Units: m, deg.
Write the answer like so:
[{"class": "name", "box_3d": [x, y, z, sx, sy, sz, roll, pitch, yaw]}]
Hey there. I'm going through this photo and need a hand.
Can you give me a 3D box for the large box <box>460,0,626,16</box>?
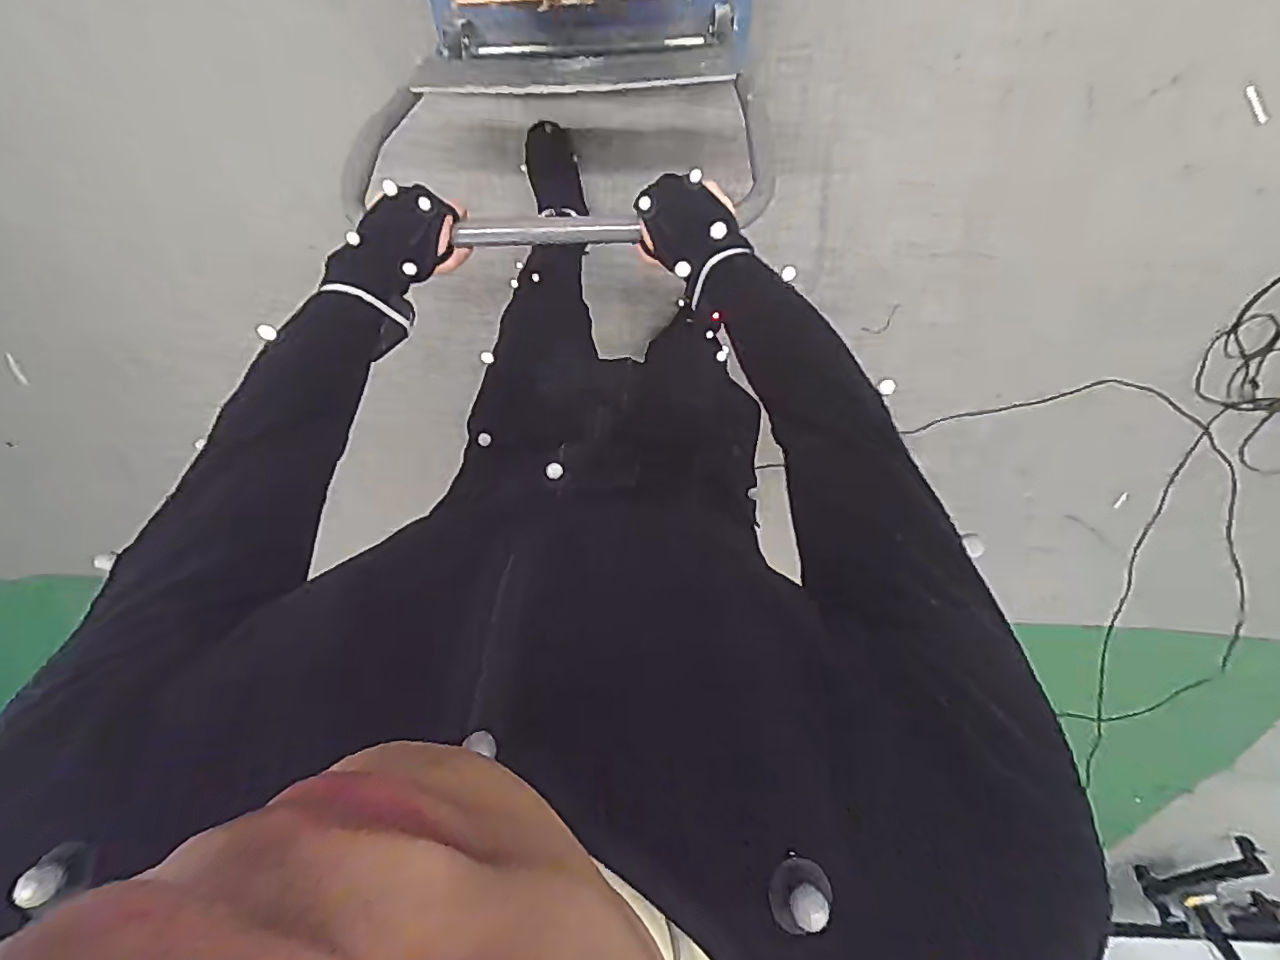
[{"class": "large box", "box_3d": [-0.107, -0.900, 0.703, 0.320, 0.320, 0.408, -1, 138, 4]}]
